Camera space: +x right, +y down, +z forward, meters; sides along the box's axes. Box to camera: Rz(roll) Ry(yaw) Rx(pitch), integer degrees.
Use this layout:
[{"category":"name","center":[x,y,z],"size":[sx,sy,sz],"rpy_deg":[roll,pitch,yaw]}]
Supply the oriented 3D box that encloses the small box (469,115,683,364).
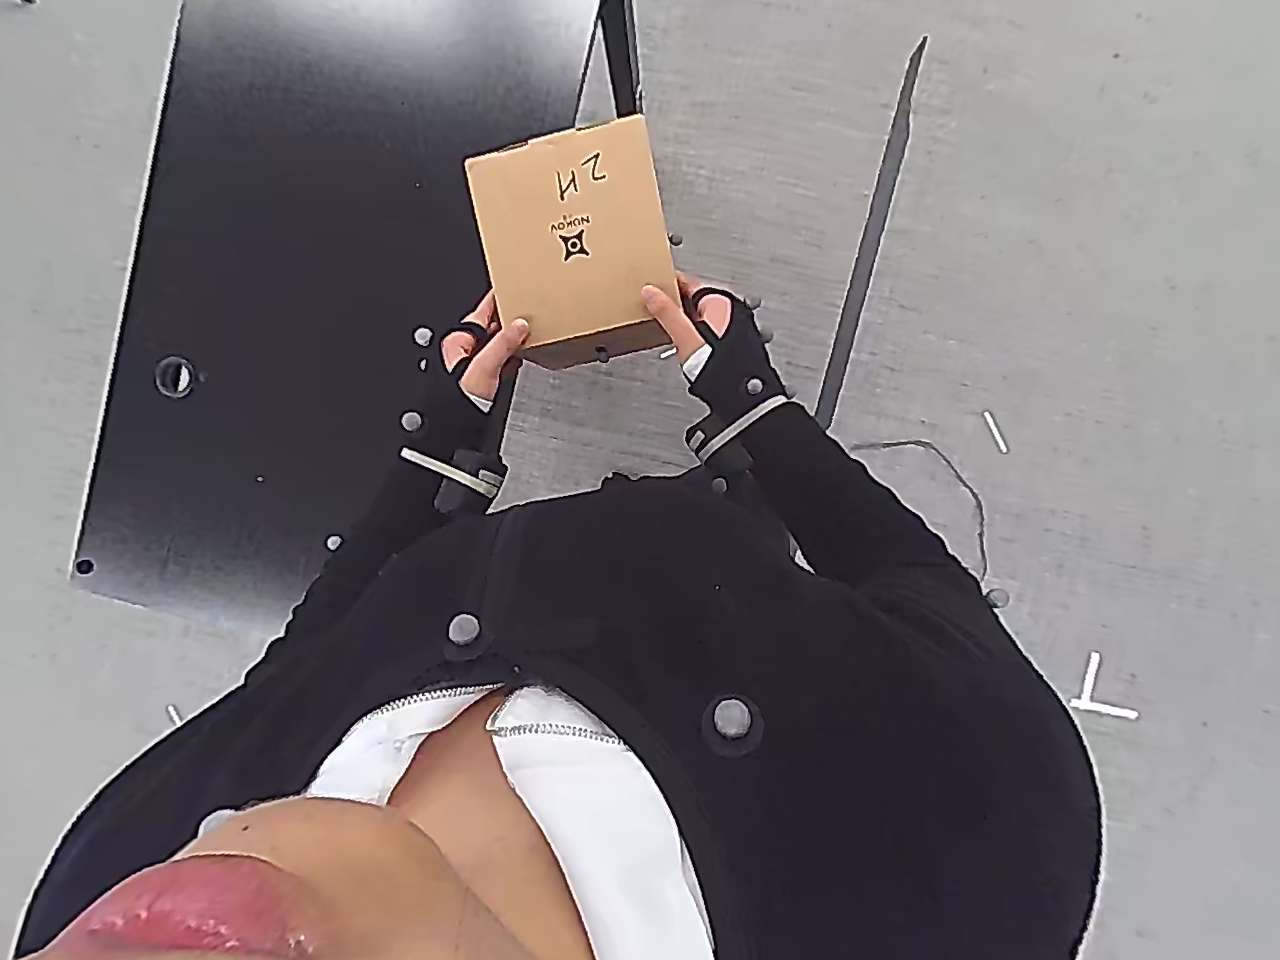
[{"category":"small box","center":[-0.051,-0.223,0.559],"size":[0.168,0.176,0.179],"rpy_deg":[-11,93,5]}]
